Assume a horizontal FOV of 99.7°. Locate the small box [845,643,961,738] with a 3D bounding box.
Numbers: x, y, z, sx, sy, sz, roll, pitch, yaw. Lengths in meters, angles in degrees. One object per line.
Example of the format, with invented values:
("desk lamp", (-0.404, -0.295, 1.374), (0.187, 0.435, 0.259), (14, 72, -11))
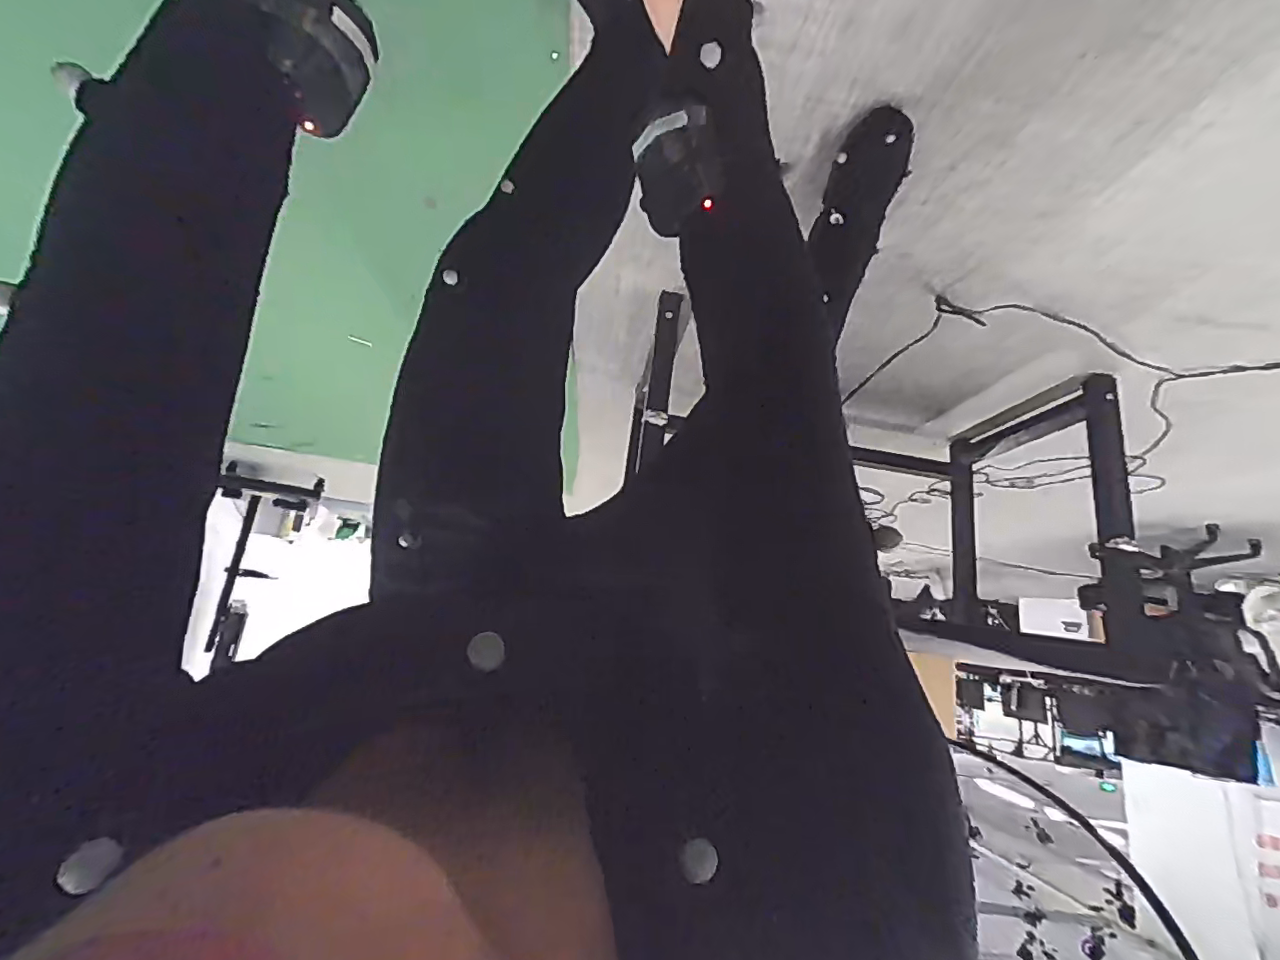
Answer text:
("small box", (0.581, 0.463, 1.211), (0.179, 0.176, 0.168), (7, 166, -6))
